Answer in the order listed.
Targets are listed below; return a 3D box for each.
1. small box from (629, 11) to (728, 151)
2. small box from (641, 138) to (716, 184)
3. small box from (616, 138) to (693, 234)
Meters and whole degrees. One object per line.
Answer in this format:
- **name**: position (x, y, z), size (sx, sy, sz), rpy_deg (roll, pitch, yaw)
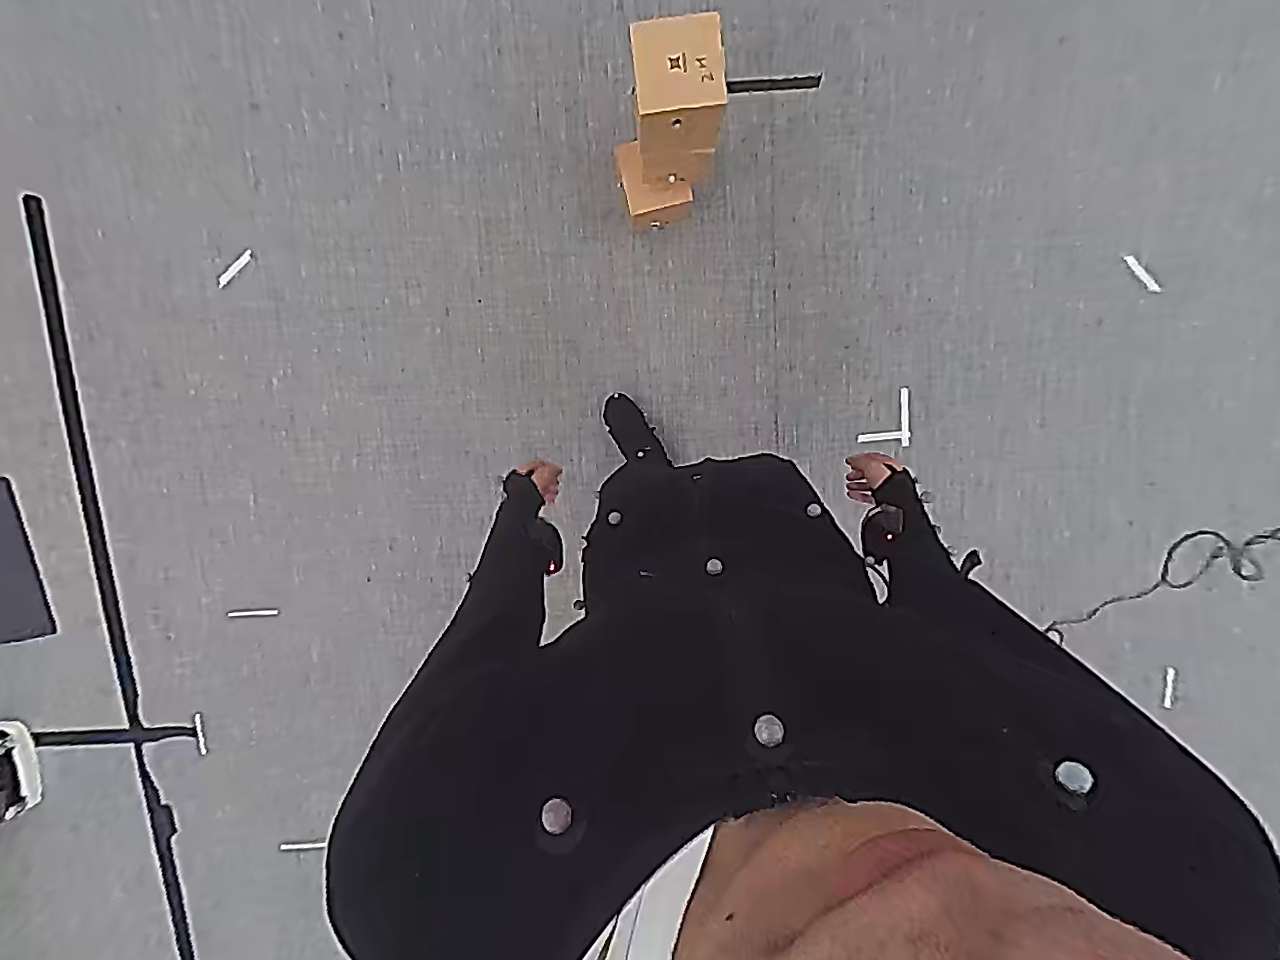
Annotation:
- **small box**: position (0.075, -0.797, 1.099), size (0.179, 0.176, 0.168), rpy_deg (-6, 97, 0)
- **small box**: position (0.087, -0.820, 1.262), size (0.168, 0.176, 0.179), rpy_deg (1, 98, 0)
- **small box**: position (0.035, -0.781, 1.431), size (0.168, 0.176, 0.179), rpy_deg (-14, 98, 1)
